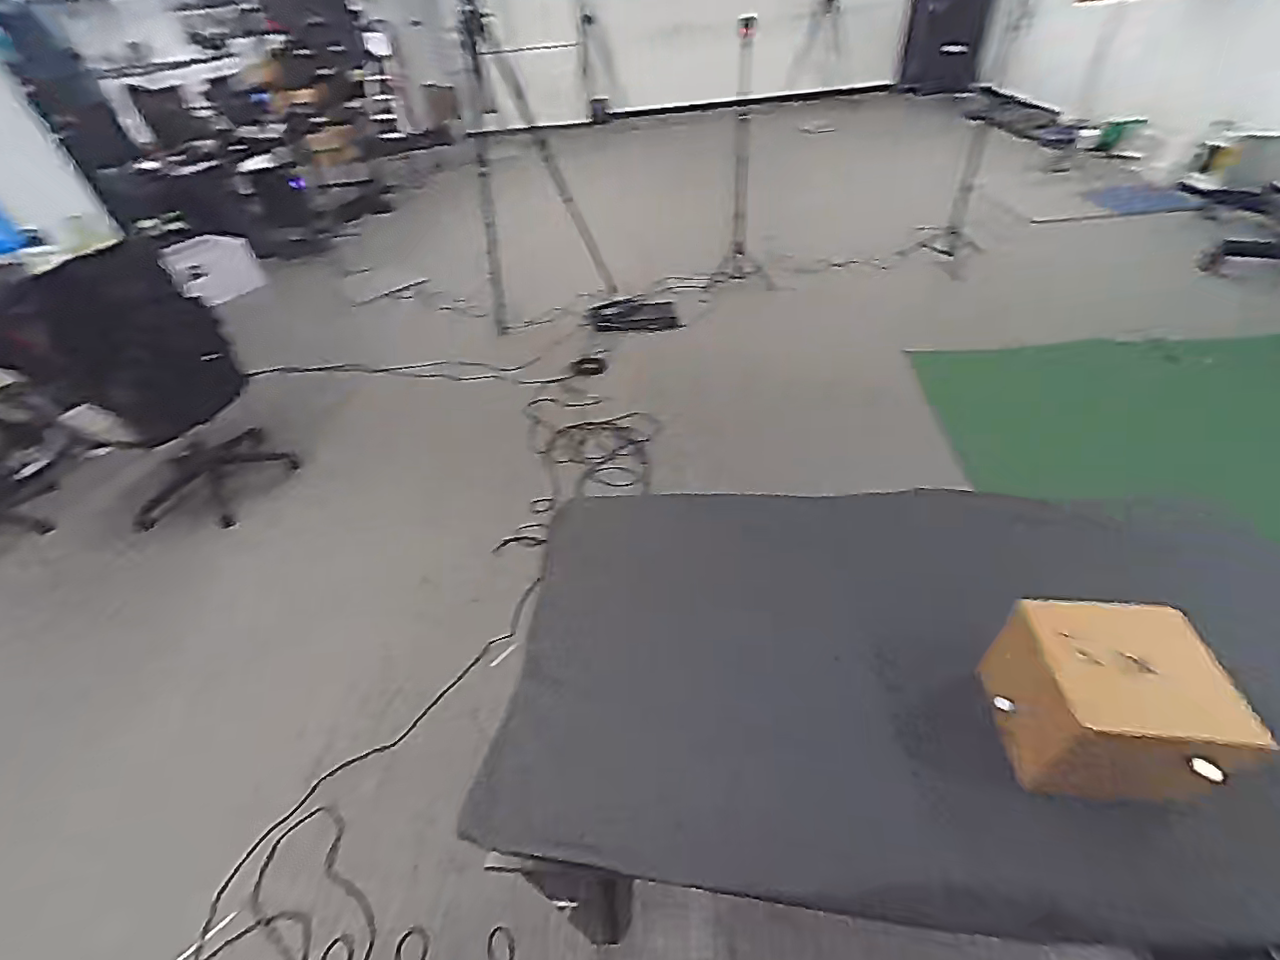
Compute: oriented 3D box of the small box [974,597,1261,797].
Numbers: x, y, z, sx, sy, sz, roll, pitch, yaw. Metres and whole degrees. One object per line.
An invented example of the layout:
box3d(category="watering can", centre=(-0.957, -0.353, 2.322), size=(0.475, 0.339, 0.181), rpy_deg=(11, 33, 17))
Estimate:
box3d(category="small box", centre=(0.547, 0.263, 0.657), size=(0.179, 0.176, 0.168), rpy_deg=(1, 41, 9))
